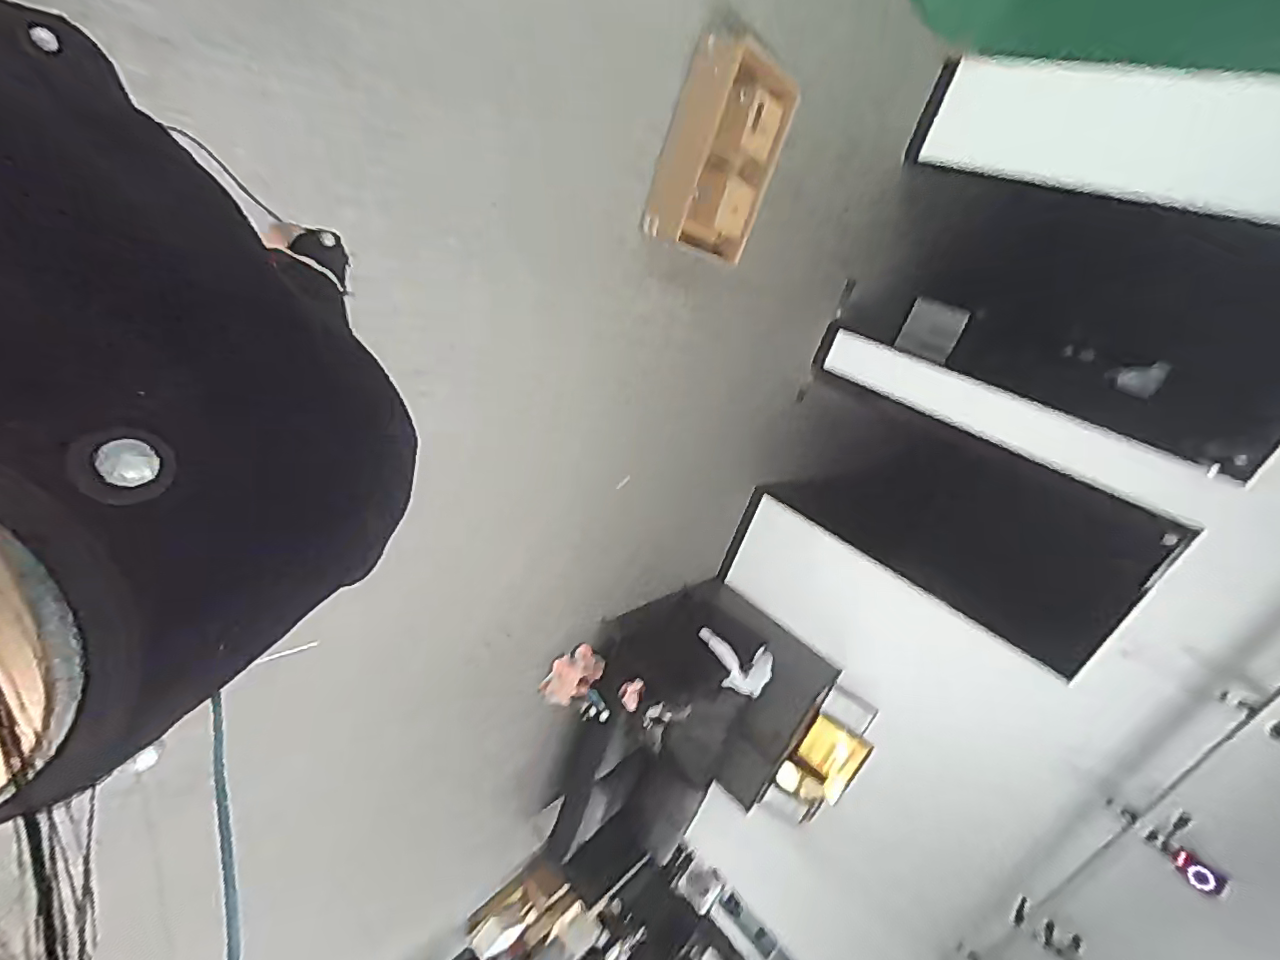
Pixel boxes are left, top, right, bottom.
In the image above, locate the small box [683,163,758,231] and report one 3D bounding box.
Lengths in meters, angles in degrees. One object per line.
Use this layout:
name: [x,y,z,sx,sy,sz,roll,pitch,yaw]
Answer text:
small box: [0.288,-1.024,1.951,0.179,0.176,0.168,-7,123,-47]
